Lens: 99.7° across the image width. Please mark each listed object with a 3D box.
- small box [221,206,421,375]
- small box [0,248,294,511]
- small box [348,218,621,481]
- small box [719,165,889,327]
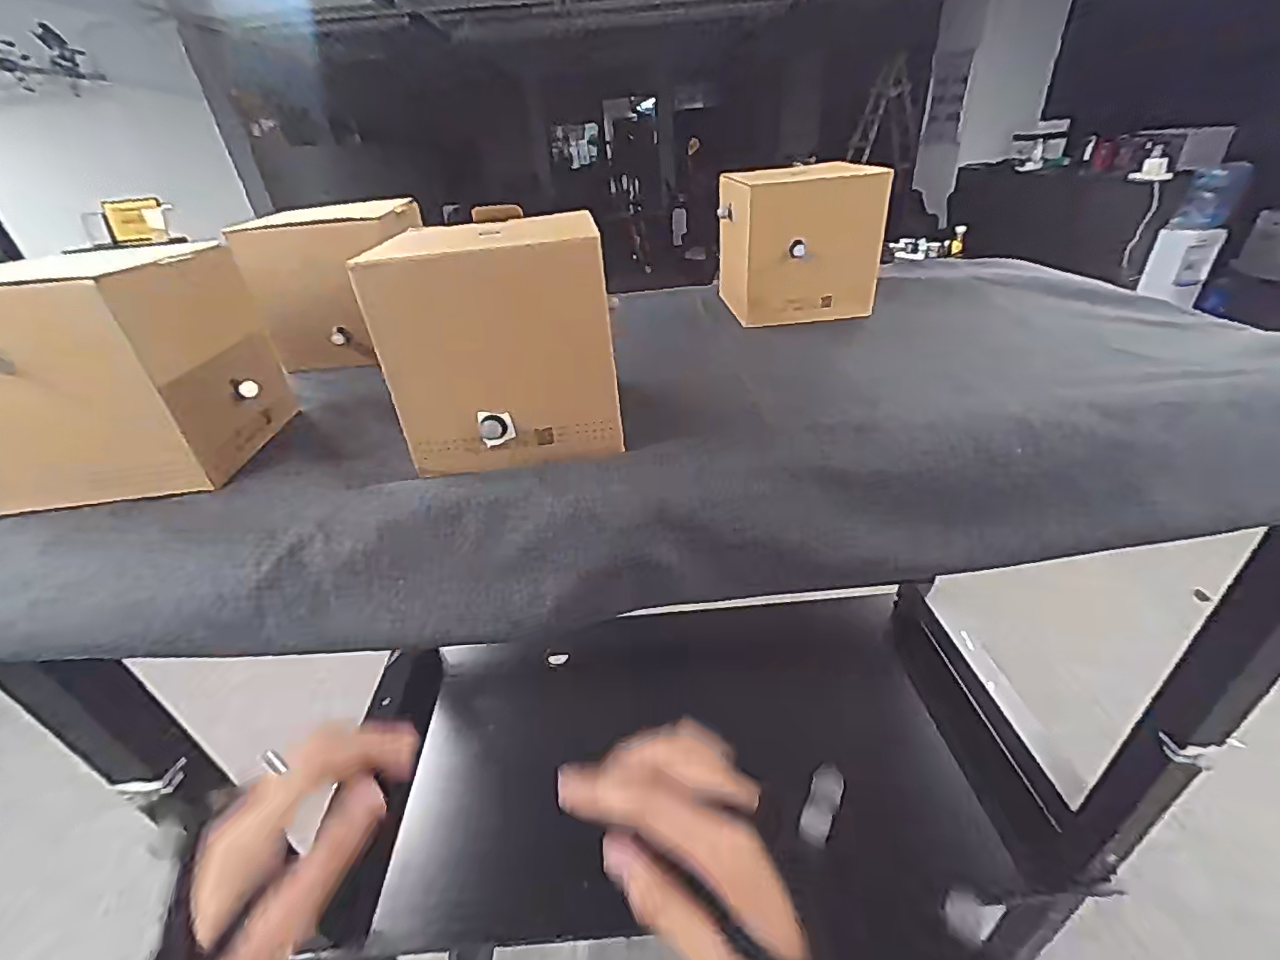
[{"bbox_3d":[-0.372,-0.247,0.700,0.179,0.176,0.168,-6,33,-3],"label":"small box"},{"bbox_3d":[-0.441,-0.087,0.455,0.179,0.176,0.168,-7,32,-4],"label":"small box"},{"bbox_3d":[-0.111,-0.118,0.461,0.168,0.176,0.179,-8,31,-4],"label":"small box"},{"bbox_3d":[0.202,-0.307,0.714,0.168,0.176,0.179,-6,33,-1],"label":"small box"}]
